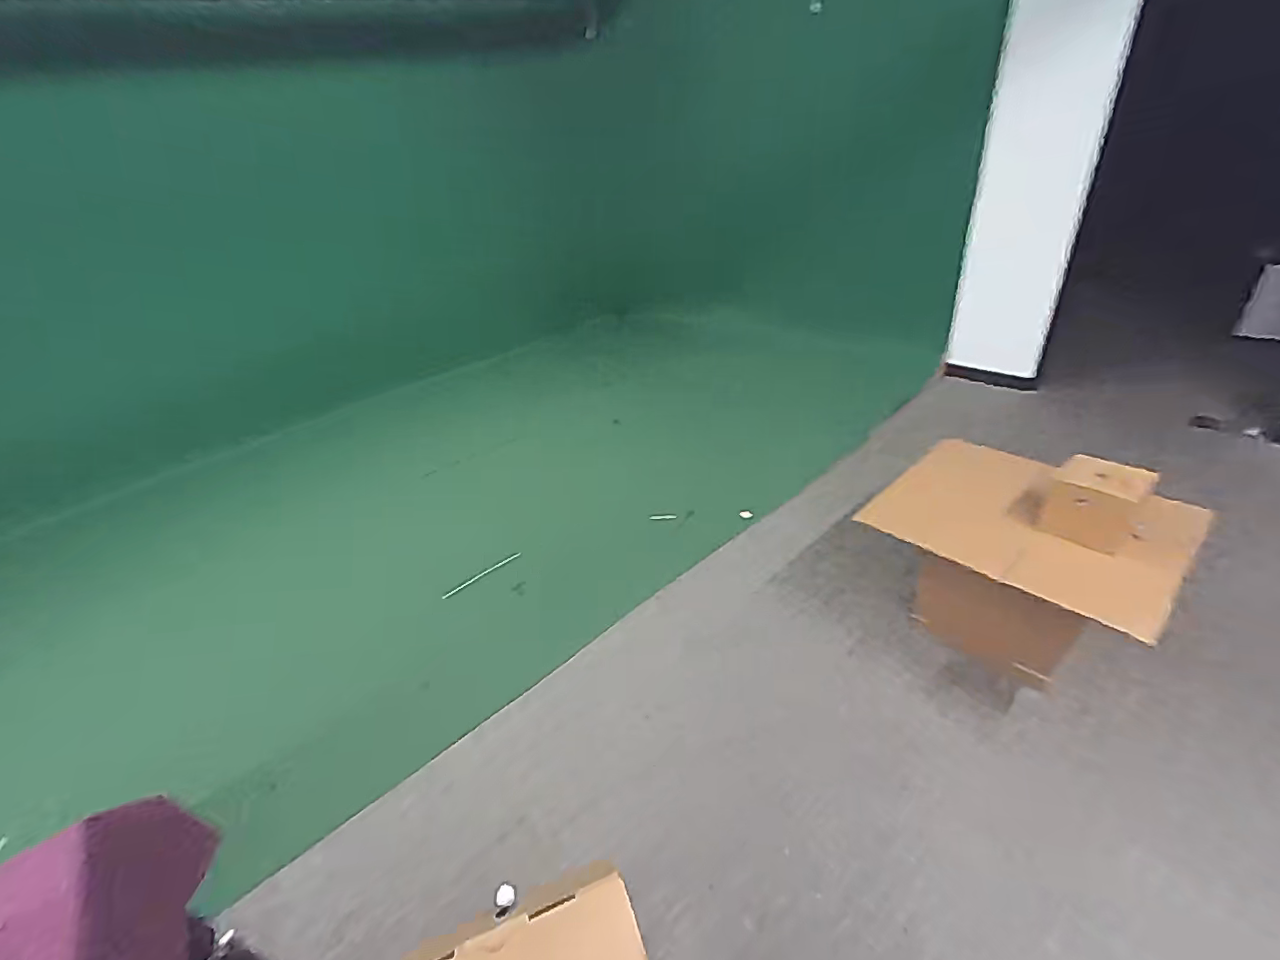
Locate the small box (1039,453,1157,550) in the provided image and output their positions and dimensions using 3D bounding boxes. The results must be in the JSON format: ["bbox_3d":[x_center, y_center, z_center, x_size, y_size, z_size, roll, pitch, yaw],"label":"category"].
[{"bbox_3d":[1.181,0.055,1.407,0.168,0.176,0.179,-29,36,-27],"label":"small box"}]
